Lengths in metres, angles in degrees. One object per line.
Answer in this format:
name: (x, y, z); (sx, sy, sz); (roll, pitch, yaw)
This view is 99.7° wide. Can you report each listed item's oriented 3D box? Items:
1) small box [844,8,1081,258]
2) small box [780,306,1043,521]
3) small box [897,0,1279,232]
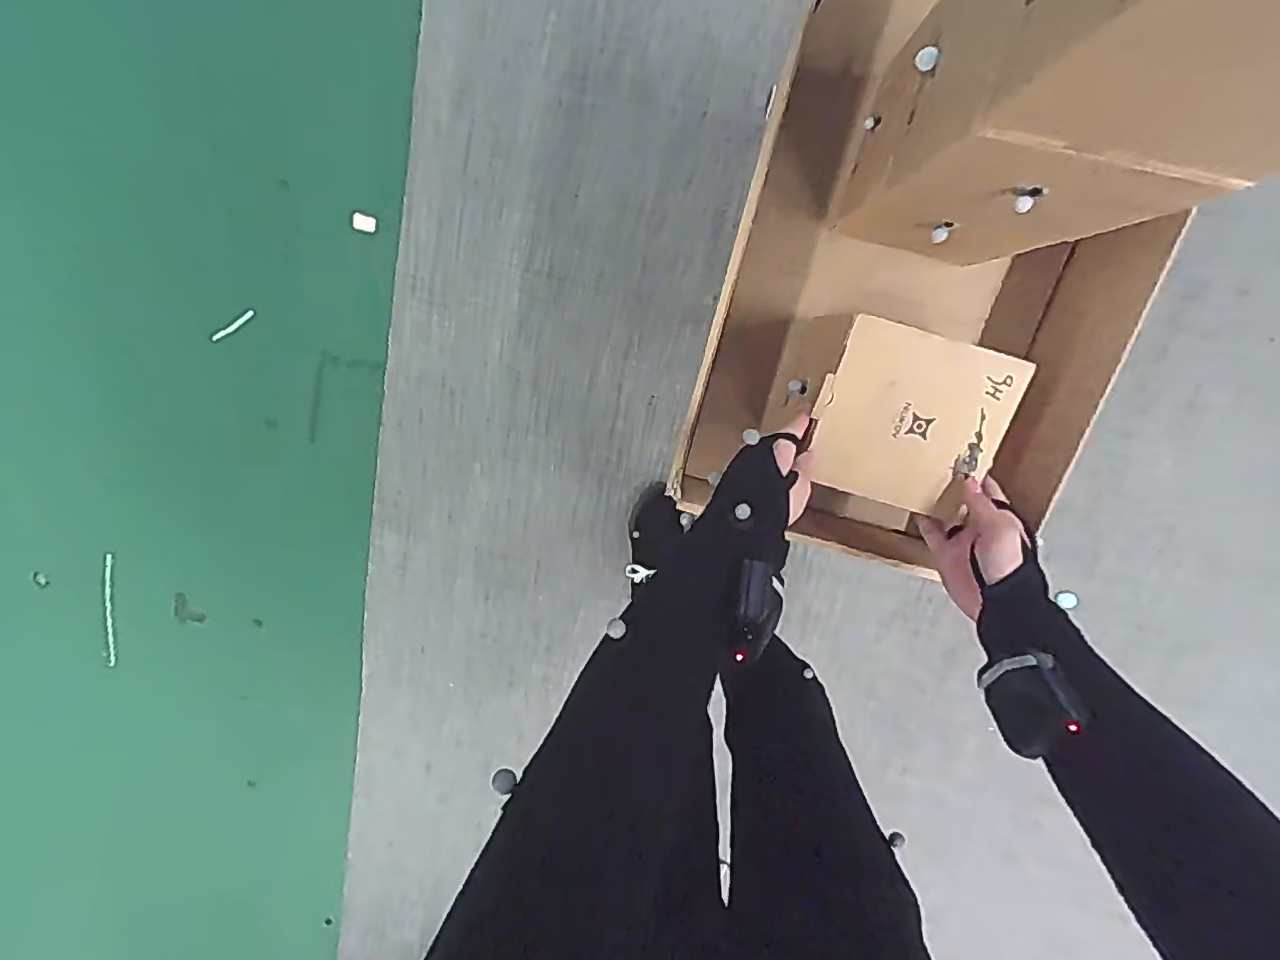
small box: (0.332, -0.331, 0.536); (0.179, 0.176, 0.168); (15, 105, 1)
small box: (0.269, -0.077, 0.589); (0.179, 0.176, 0.168); (17, 105, 0)
small box: (0.317, -0.287, 0.378); (0.179, 0.176, 0.168); (14, 105, 2)
